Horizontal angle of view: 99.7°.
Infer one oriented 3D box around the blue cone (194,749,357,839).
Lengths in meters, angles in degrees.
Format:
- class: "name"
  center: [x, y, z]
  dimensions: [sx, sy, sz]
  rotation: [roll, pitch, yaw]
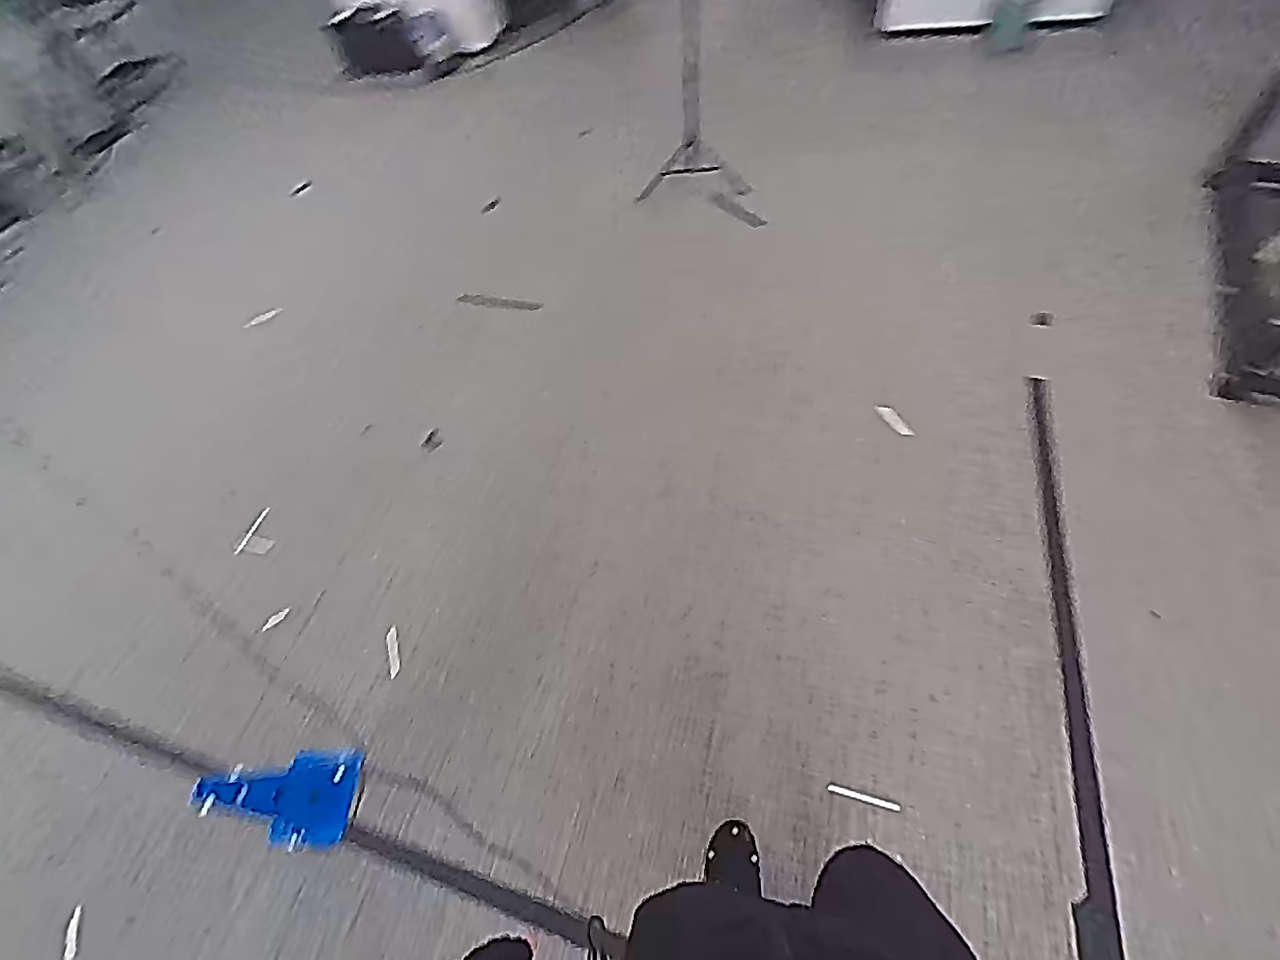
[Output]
- class: "blue cone"
  center: [-0.833, 0.686, 1.202]
  dimensions: [0.192, 0.380, 0.193]
  rotation: [-4, 57, 7]
